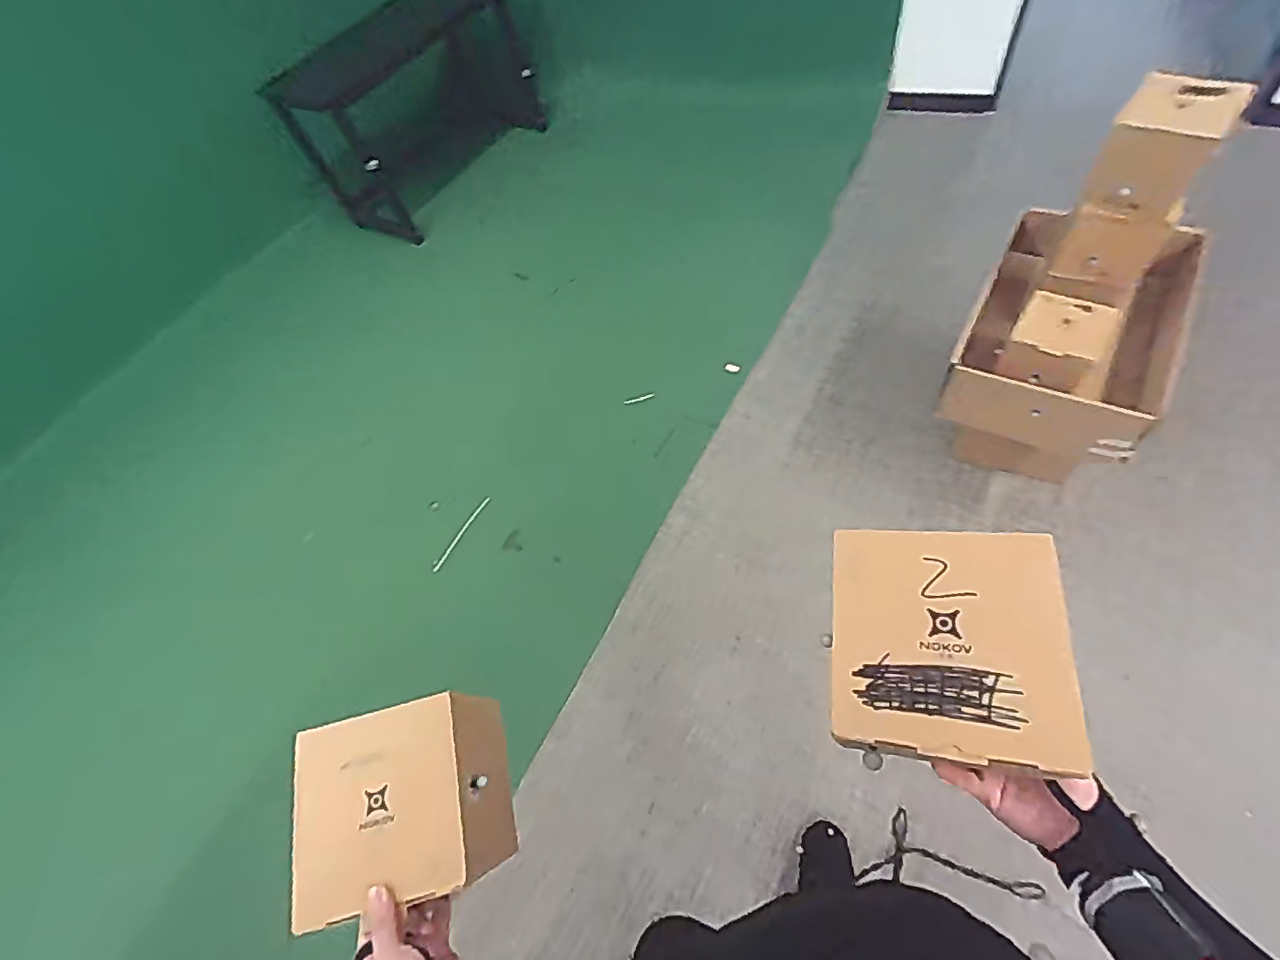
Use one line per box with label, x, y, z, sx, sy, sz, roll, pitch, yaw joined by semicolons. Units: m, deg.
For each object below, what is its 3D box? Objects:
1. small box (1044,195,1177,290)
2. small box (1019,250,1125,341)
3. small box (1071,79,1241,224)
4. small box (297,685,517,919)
small box;1.042;-0.560;1.205;0.168;0.176;0.179;22;68;25
small box;1.078;-0.480;1.341;0.168;0.176;0.179;23;68;26
small box;1.006;-0.648;1.071;0.168;0.176;0.179;32;73;28
small box;-0.245;0.341;0.603;0.168;0.176;0.179;-14;64;-1
